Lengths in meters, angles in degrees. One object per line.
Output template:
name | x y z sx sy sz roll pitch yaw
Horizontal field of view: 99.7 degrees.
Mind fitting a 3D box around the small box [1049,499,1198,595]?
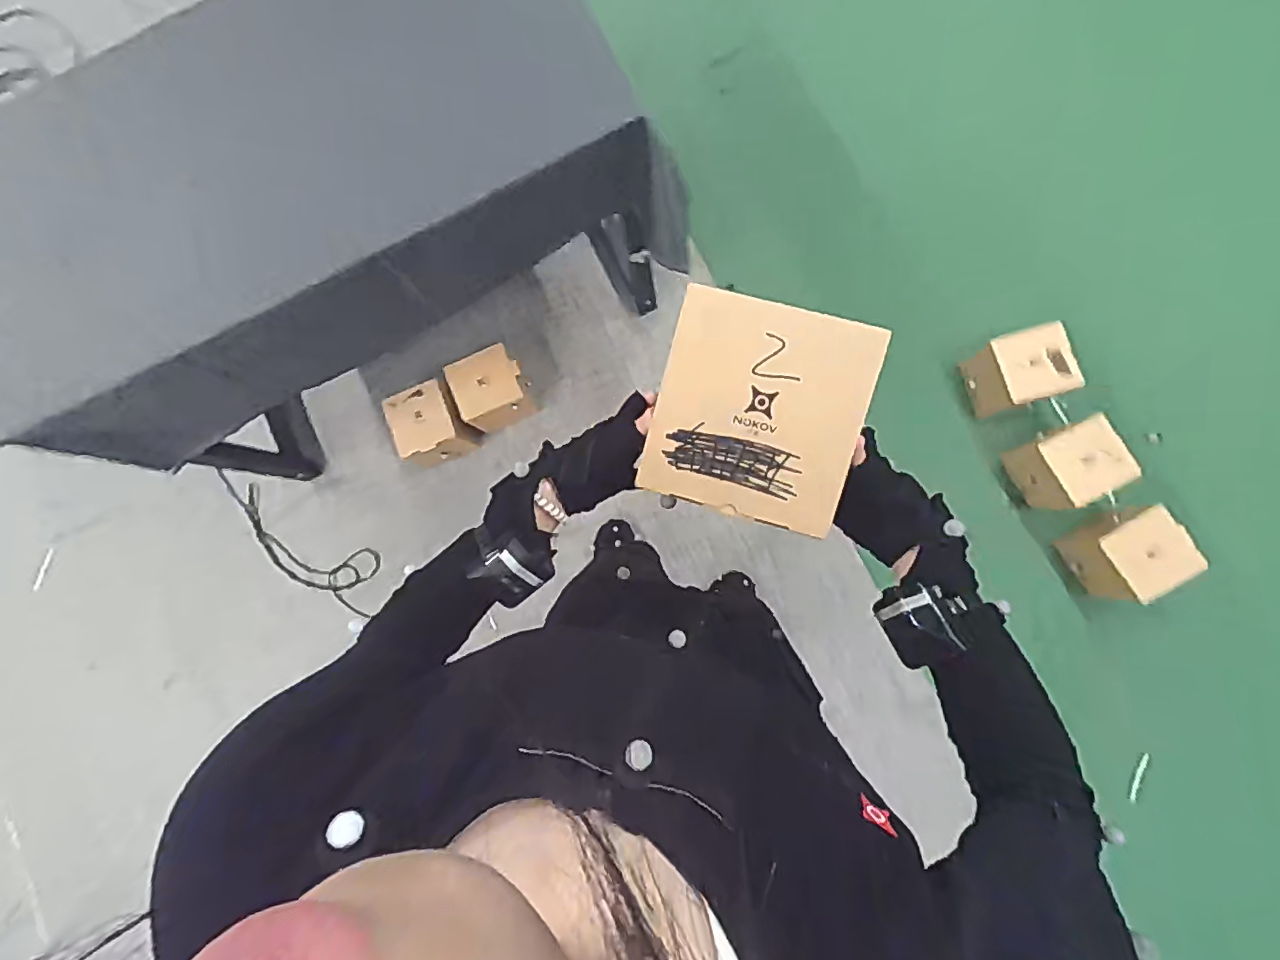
small box | 1.173 0.162 1.329 0.179 0.176 0.168 -31 82 0

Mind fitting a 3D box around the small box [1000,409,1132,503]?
small box | 1.052 -0.052 1.361 0.179 0.176 0.168 -28 83 1

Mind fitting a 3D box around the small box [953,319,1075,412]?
small box | 0.955 -0.289 1.397 0.179 0.176 0.168 -16 82 3
